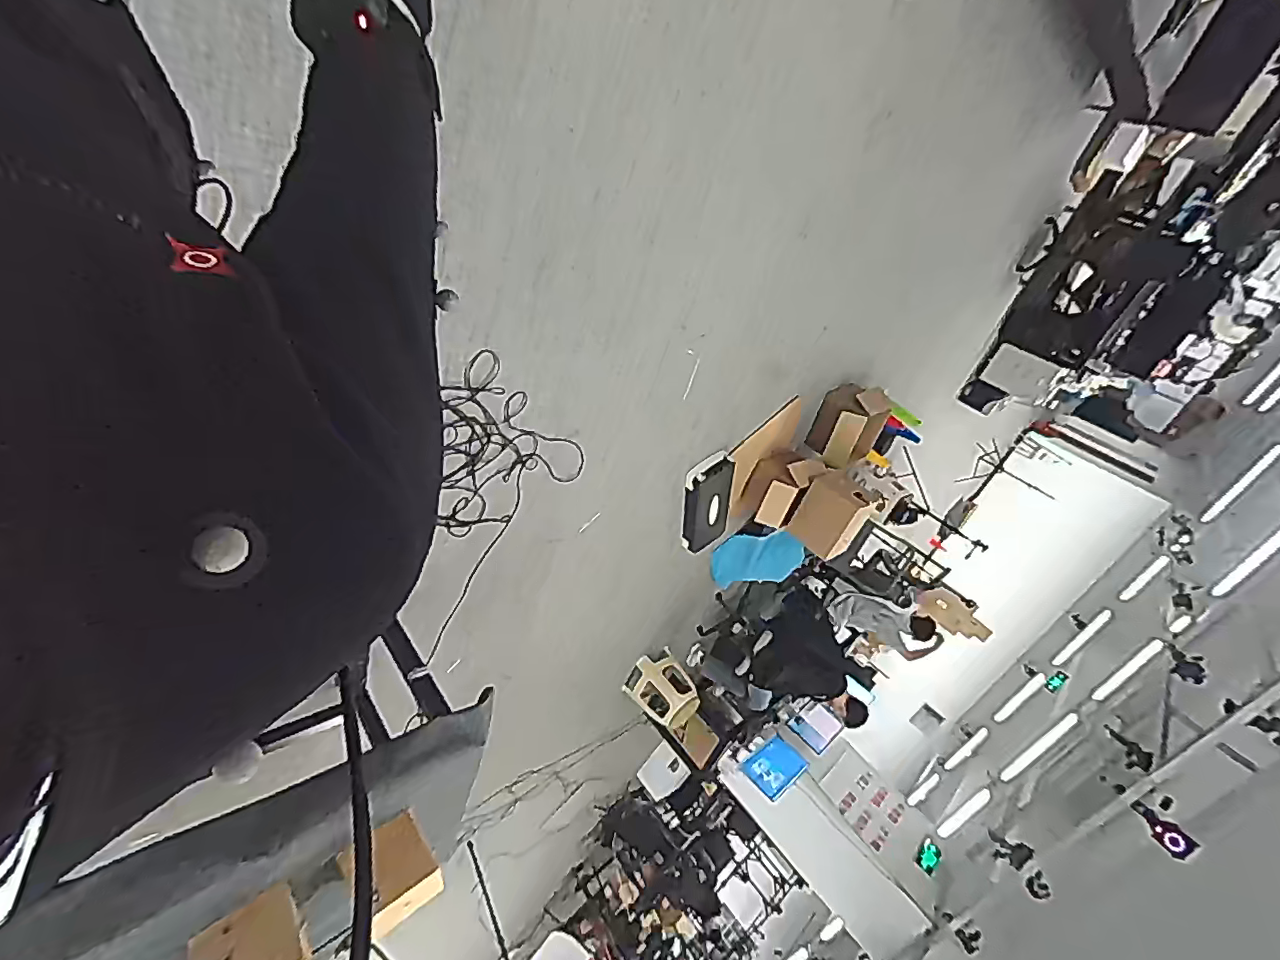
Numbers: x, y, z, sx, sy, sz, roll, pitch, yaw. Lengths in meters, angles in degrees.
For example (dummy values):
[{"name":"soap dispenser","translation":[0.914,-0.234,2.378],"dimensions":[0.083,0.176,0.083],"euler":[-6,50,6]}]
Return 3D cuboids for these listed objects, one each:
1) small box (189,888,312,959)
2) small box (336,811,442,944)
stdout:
[{"name":"small box","translation":[-0.790,0.989,1.108],"dimensions":[0.168,0.176,0.179],"euler":[-20,139,-37]},{"name":"small box","translation":[-0.596,0.941,1.292],"dimensions":[0.179,0.176,0.168],"euler":[-22,140,-36]}]
